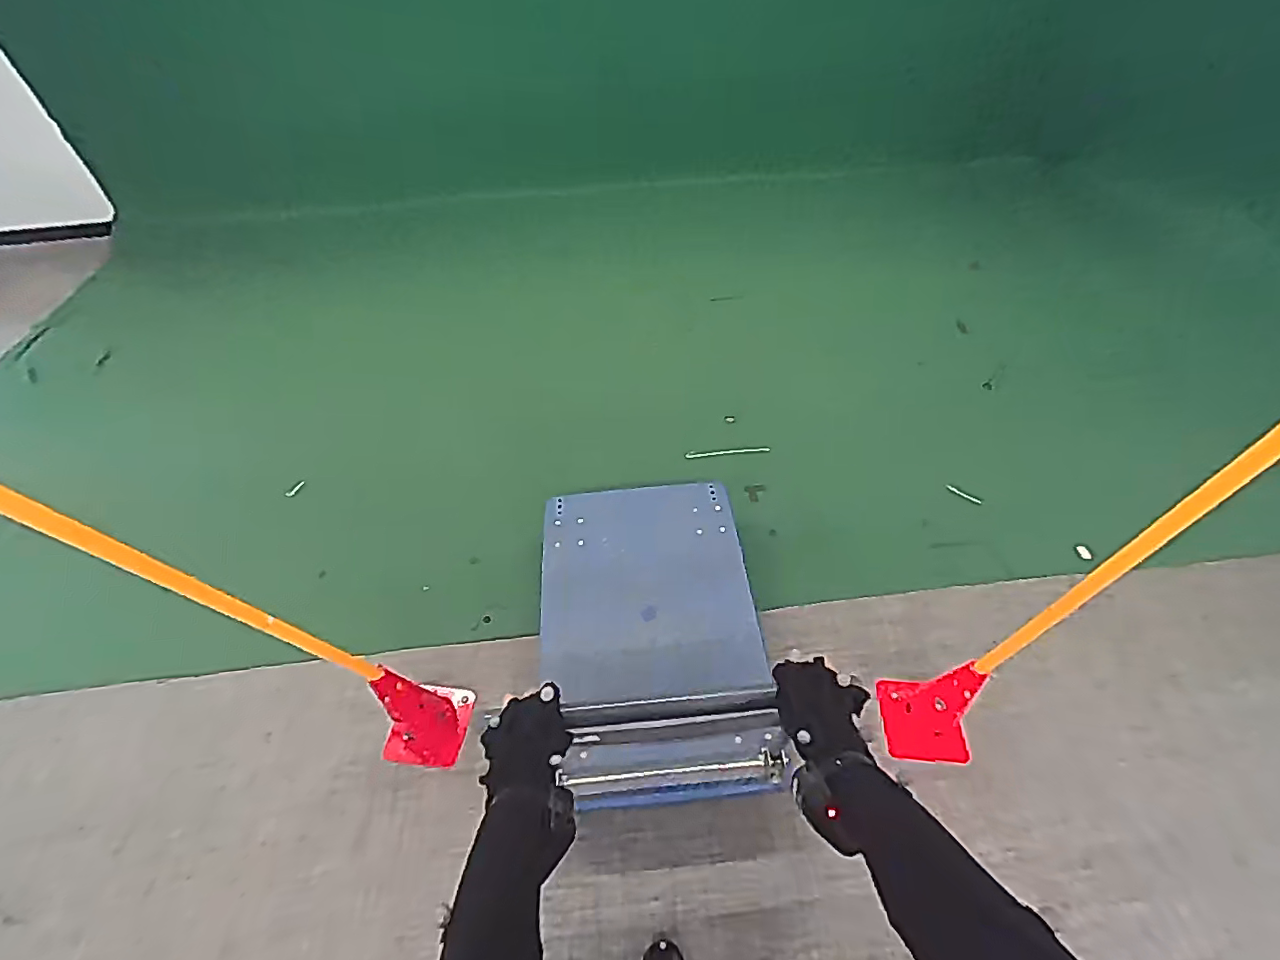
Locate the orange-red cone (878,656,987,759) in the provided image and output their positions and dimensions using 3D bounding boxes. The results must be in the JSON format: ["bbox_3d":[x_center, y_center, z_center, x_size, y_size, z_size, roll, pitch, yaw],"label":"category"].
[{"bbox_3d":[0.721,0.502,1.270,0.198,0.360,0.199,2,51,6],"label":"orange-red cone"}]
